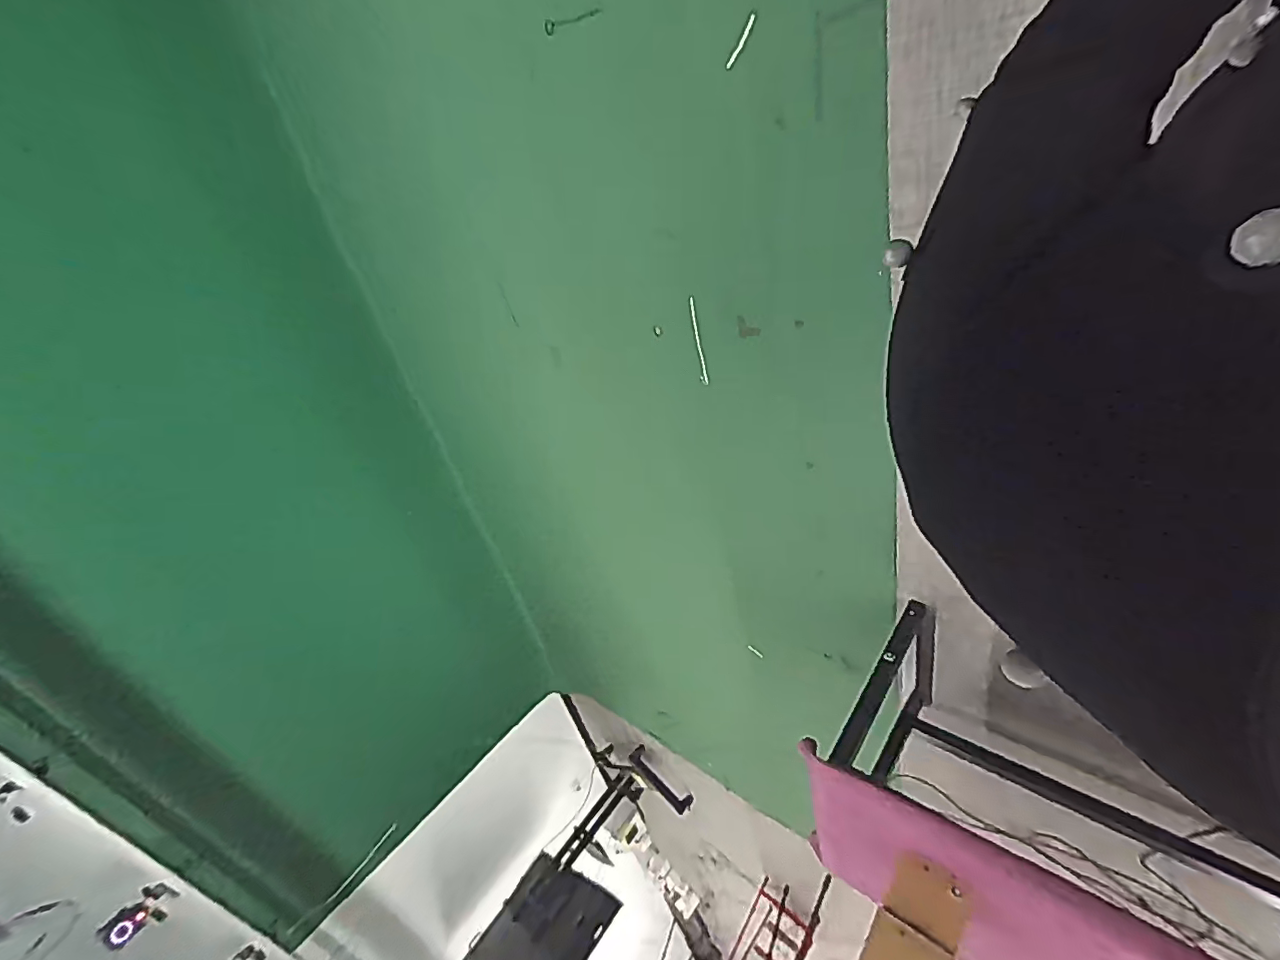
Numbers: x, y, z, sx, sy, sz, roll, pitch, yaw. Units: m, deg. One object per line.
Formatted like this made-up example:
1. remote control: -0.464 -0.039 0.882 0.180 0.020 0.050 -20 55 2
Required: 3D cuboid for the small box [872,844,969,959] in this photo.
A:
1. small box: 0.702 1.065 1.354 0.168 0.176 0.179 20 135 38
